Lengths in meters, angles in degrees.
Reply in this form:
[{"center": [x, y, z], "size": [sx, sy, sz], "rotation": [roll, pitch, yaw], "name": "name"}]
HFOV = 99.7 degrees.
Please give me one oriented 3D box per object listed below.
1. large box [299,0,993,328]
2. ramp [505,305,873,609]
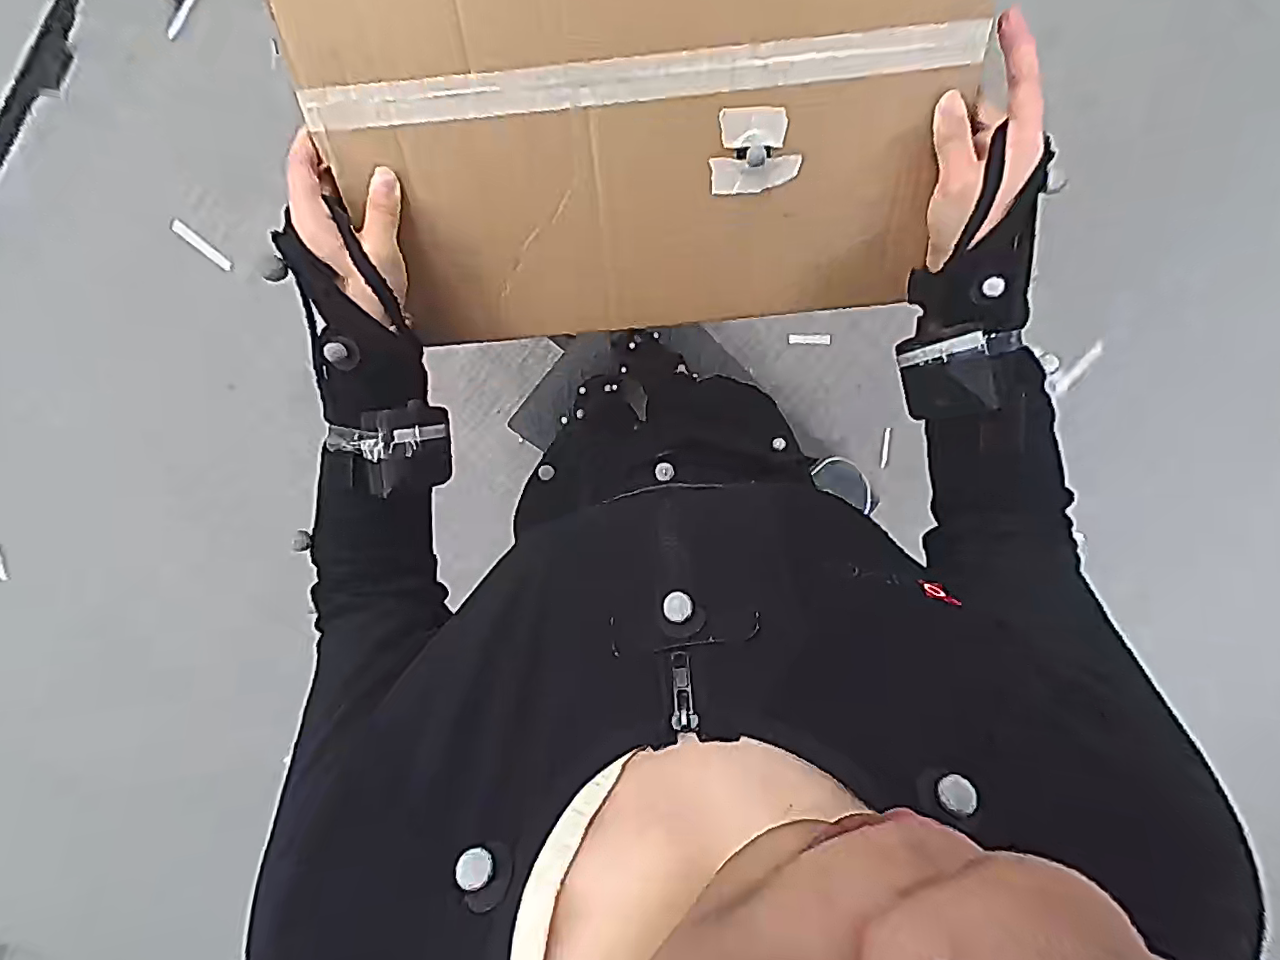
[{"center": [0.000, -0.346, 0.441], "size": [0.408, 0.320, 0.320], "rotation": [-4, 130, 0], "name": "large box"}, {"center": [0.188, -0.049, 1.462], "size": [0.991, 0.206, 0.509], "rotation": [37, 99, -13], "name": "ramp"}]
